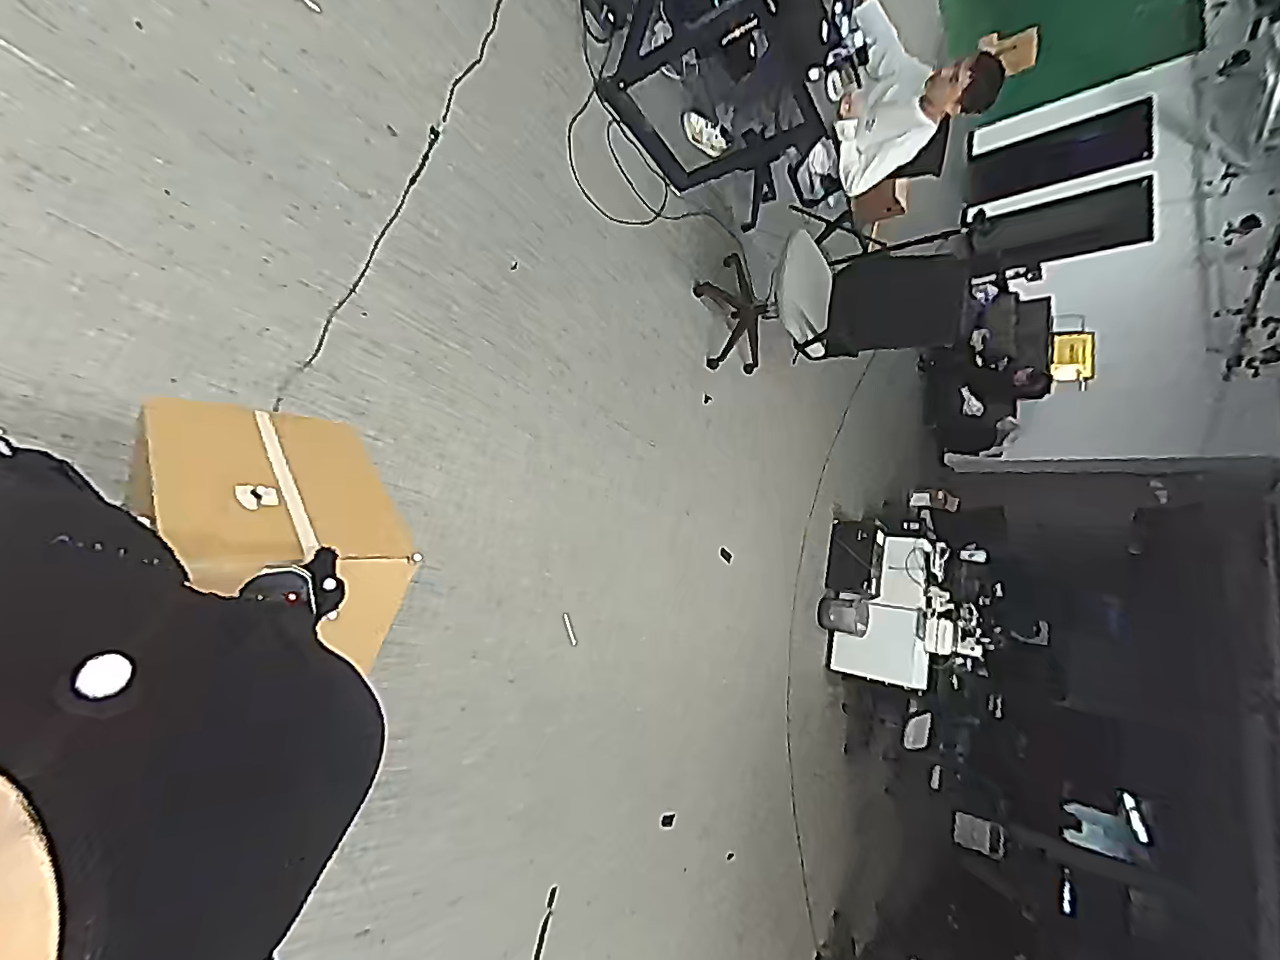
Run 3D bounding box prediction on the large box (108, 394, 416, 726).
[{"bbox_3d":[-0.641,0.113,0.899,0.320,0.408,0.320,7,120,-48],"label":"large box"}]
